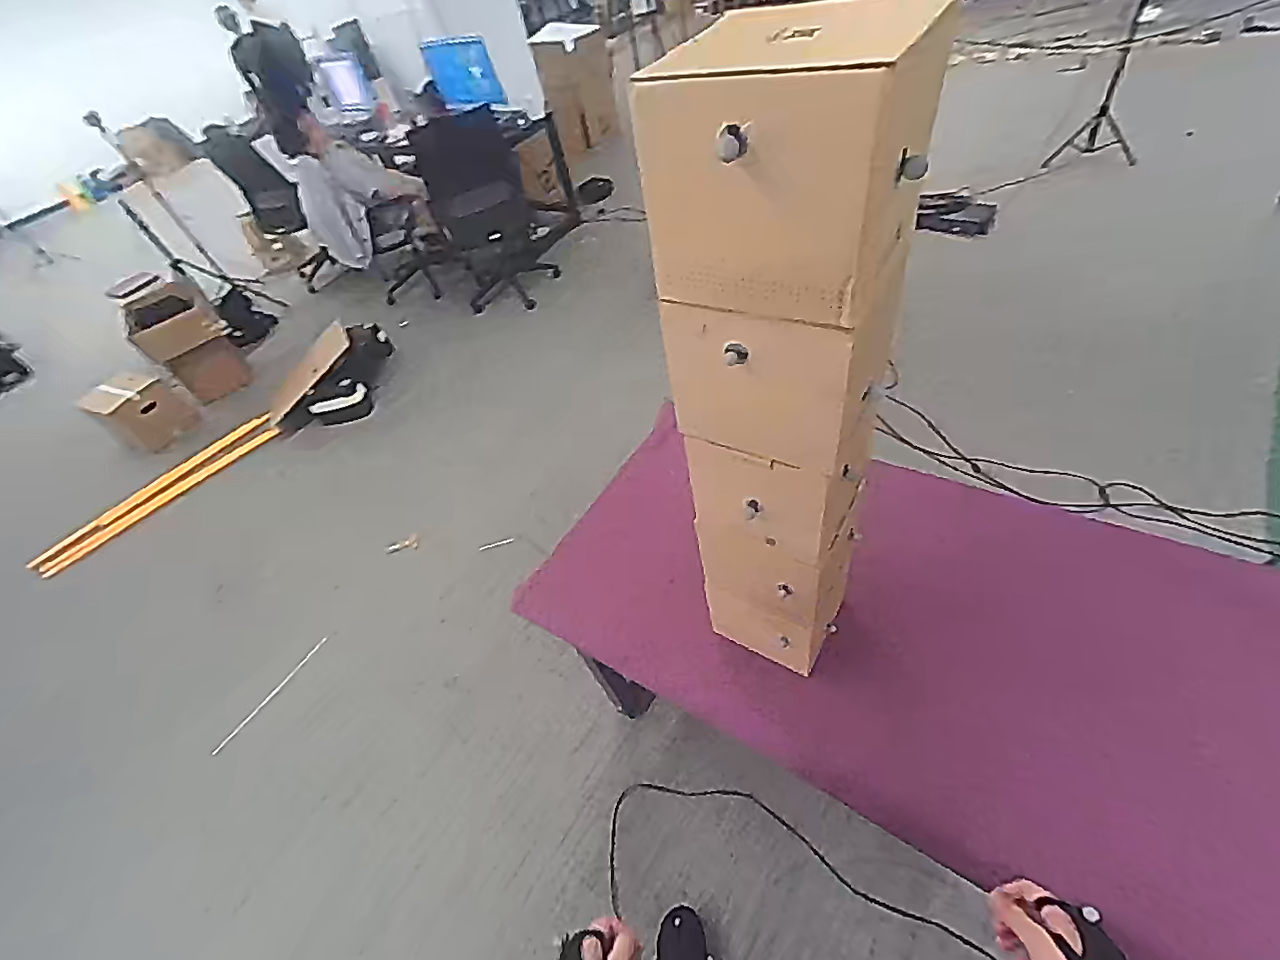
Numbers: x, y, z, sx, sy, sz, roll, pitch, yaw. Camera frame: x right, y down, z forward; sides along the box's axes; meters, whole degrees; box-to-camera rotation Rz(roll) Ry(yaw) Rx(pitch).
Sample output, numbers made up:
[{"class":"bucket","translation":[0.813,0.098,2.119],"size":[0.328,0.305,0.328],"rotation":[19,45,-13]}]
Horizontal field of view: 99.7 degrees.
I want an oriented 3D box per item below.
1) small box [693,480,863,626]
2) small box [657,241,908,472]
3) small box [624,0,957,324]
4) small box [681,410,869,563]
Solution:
[{"class":"small box","translation":[0.199,0.085,0.781],"size":[0.179,0.176,0.168],"rotation":[20,56,29]},{"class":"small box","translation":[0.141,-0.133,0.544],"size":[0.179,0.176,0.168],"rotation":[20,56,28]},{"class":"small box","translation":[0.117,-0.242,0.426],"size":[0.179,0.176,0.168],"rotation":[19,55,29]},{"class":"small box","translation":[0.172,-0.027,0.666],"size":[0.168,0.176,0.179],"rotation":[20,56,28]}]
